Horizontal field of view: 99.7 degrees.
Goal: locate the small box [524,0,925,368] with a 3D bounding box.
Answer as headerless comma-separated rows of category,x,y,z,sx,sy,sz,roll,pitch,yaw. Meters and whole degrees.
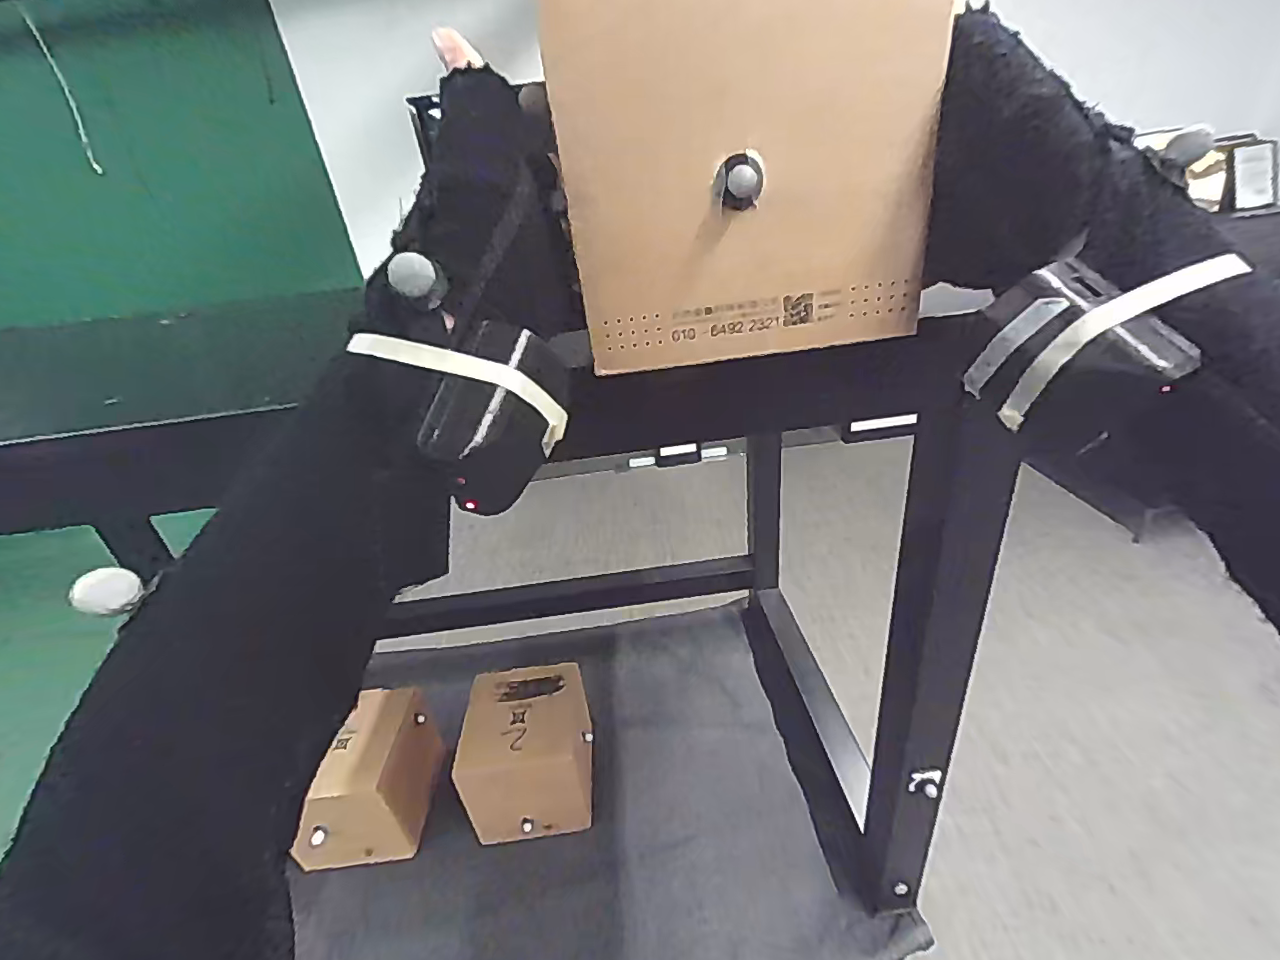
small box,0.043,-0.169,0.314,0.168,0.176,0.179,-7,28,1

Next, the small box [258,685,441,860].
small box,-0.425,0.450,0.830,0.168,0.176,0.179,-7,28,0
